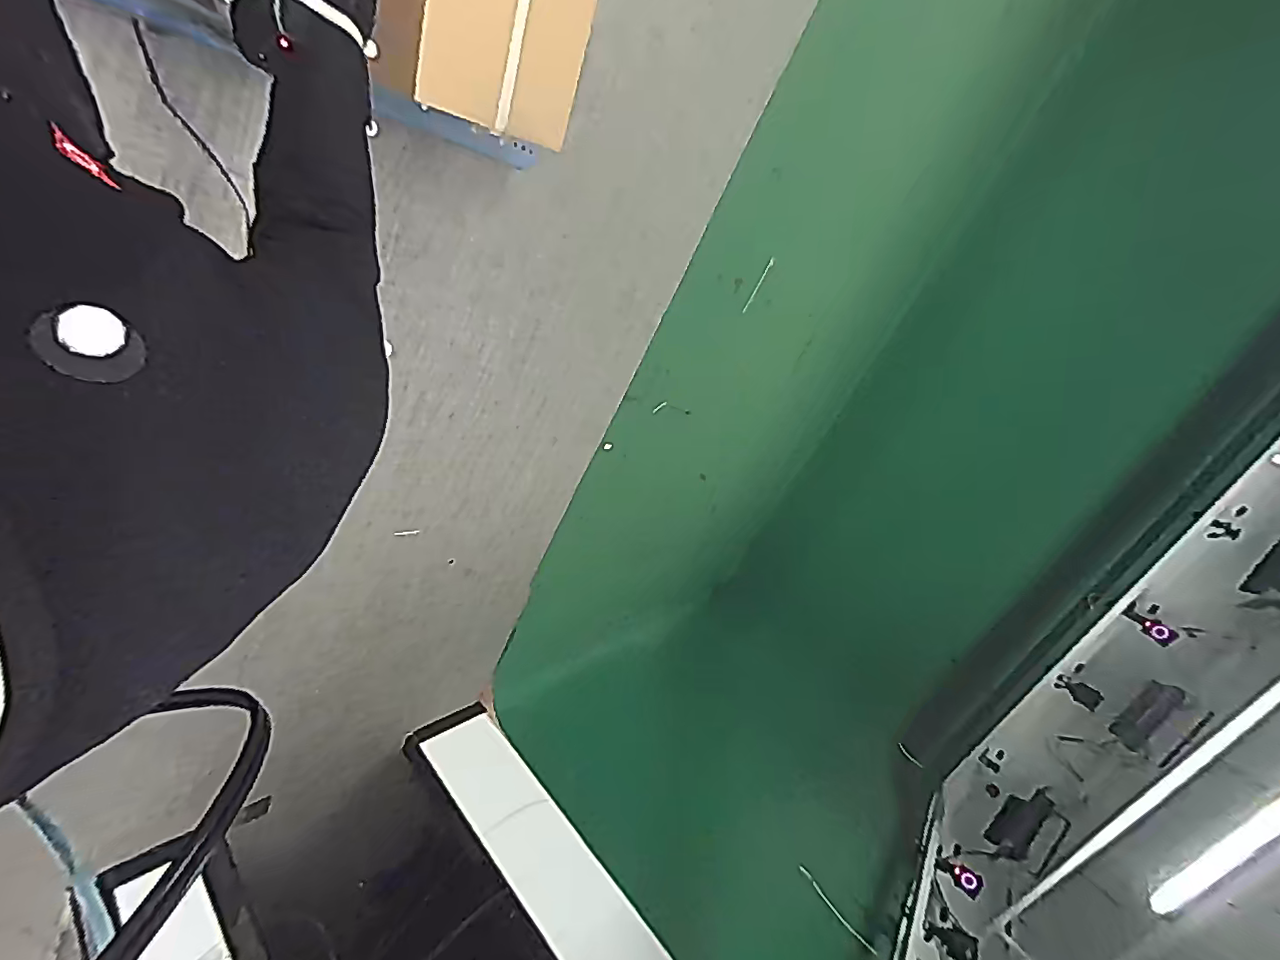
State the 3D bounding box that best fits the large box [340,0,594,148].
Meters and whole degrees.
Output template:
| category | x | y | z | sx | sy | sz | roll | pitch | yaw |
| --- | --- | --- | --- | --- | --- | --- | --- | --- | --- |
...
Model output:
| category | x | y | z | sx | sy | sz | roll | pitch | yaw |
| --- | --- | --- | --- | --- | --- | --- | --- | --- | --- |
| large box | -0.298 | -0.873 | 0.945 | 0.320 | 0.320 | 0.408 | -16 | 136 | -48 |
